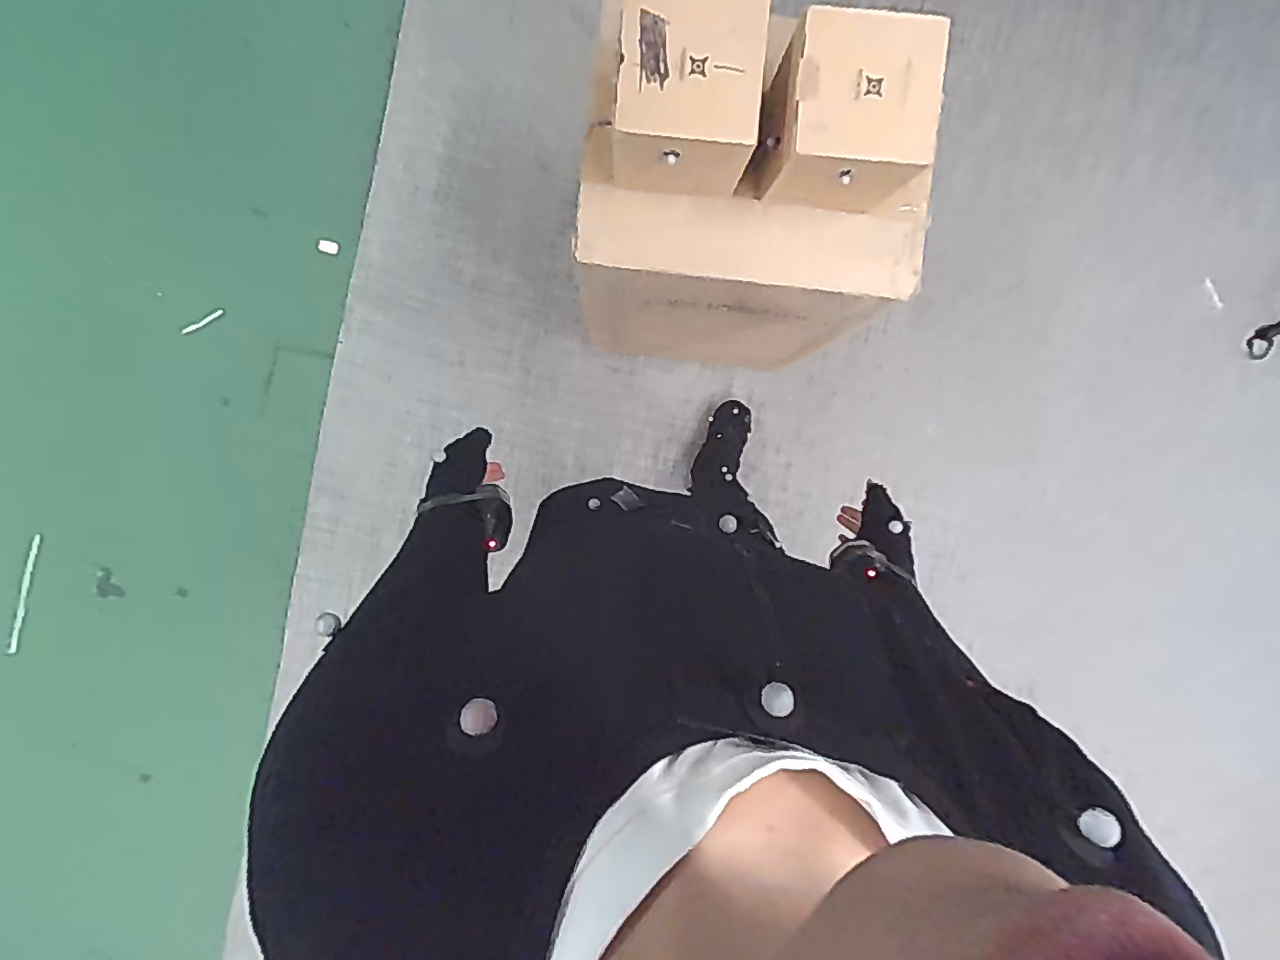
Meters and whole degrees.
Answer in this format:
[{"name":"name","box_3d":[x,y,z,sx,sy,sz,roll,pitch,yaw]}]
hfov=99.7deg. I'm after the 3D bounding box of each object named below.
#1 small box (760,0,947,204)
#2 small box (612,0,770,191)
[{"name":"small box","box_3d":[0.271,-0.489,0.728,0.179,0.176,0.168,3,99,-4]},{"name":"small box","box_3d":[0.057,-0.506,0.717,0.179,0.176,0.168,4,98,-3]}]
